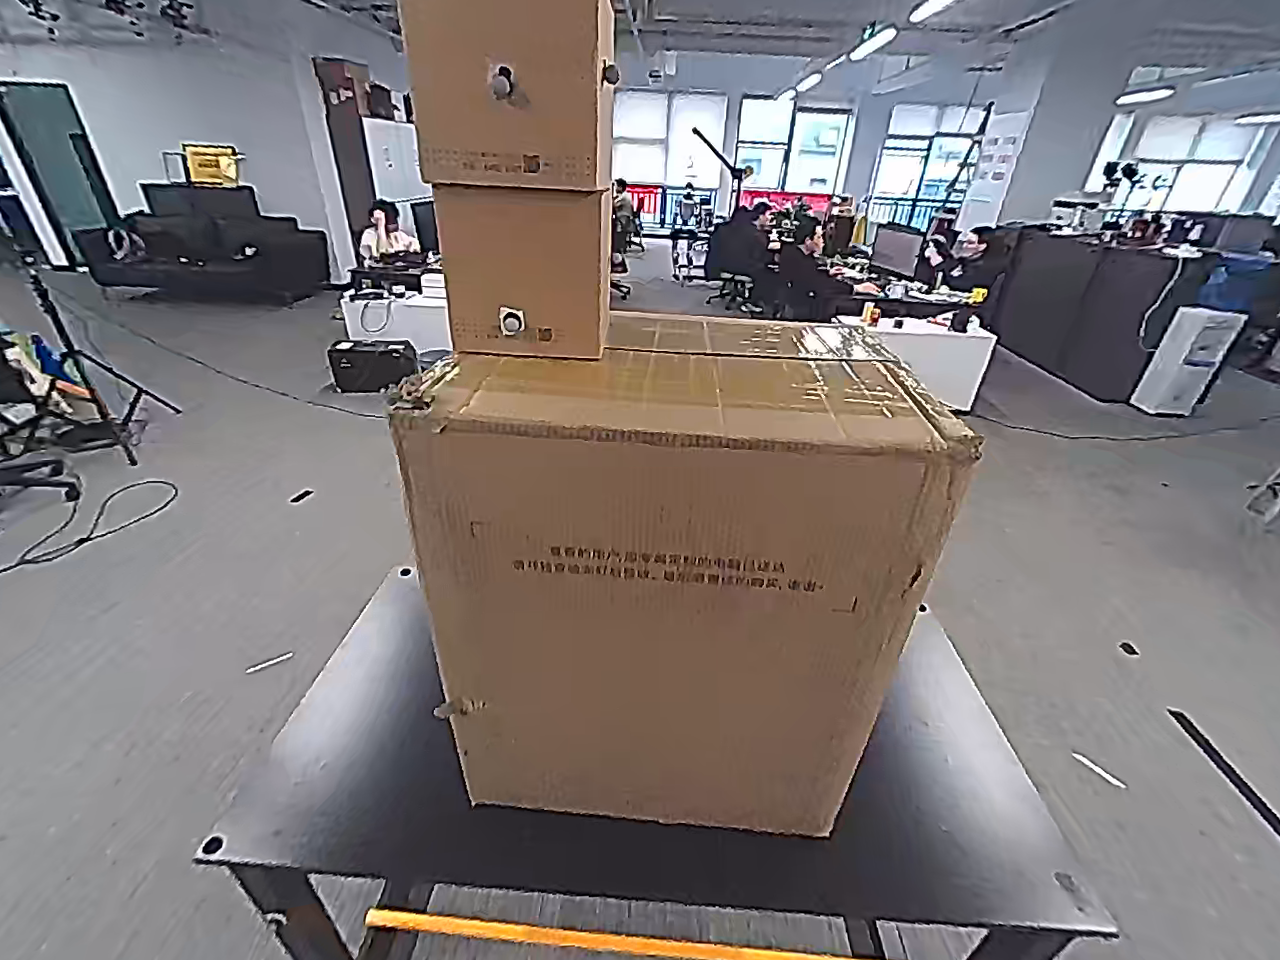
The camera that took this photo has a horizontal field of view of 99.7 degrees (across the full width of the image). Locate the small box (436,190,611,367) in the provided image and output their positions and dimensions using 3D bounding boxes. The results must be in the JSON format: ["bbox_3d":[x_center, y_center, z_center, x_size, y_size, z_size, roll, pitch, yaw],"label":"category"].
[{"bbox_3d":[-0.120,-0.241,0.632,0.168,0.176,0.179,1,30,-1],"label":"small box"}]

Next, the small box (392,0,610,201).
[{"bbox_3d":[-0.117,-0.376,0.537,0.168,0.176,0.179,2,30,0],"label":"small box"}]
